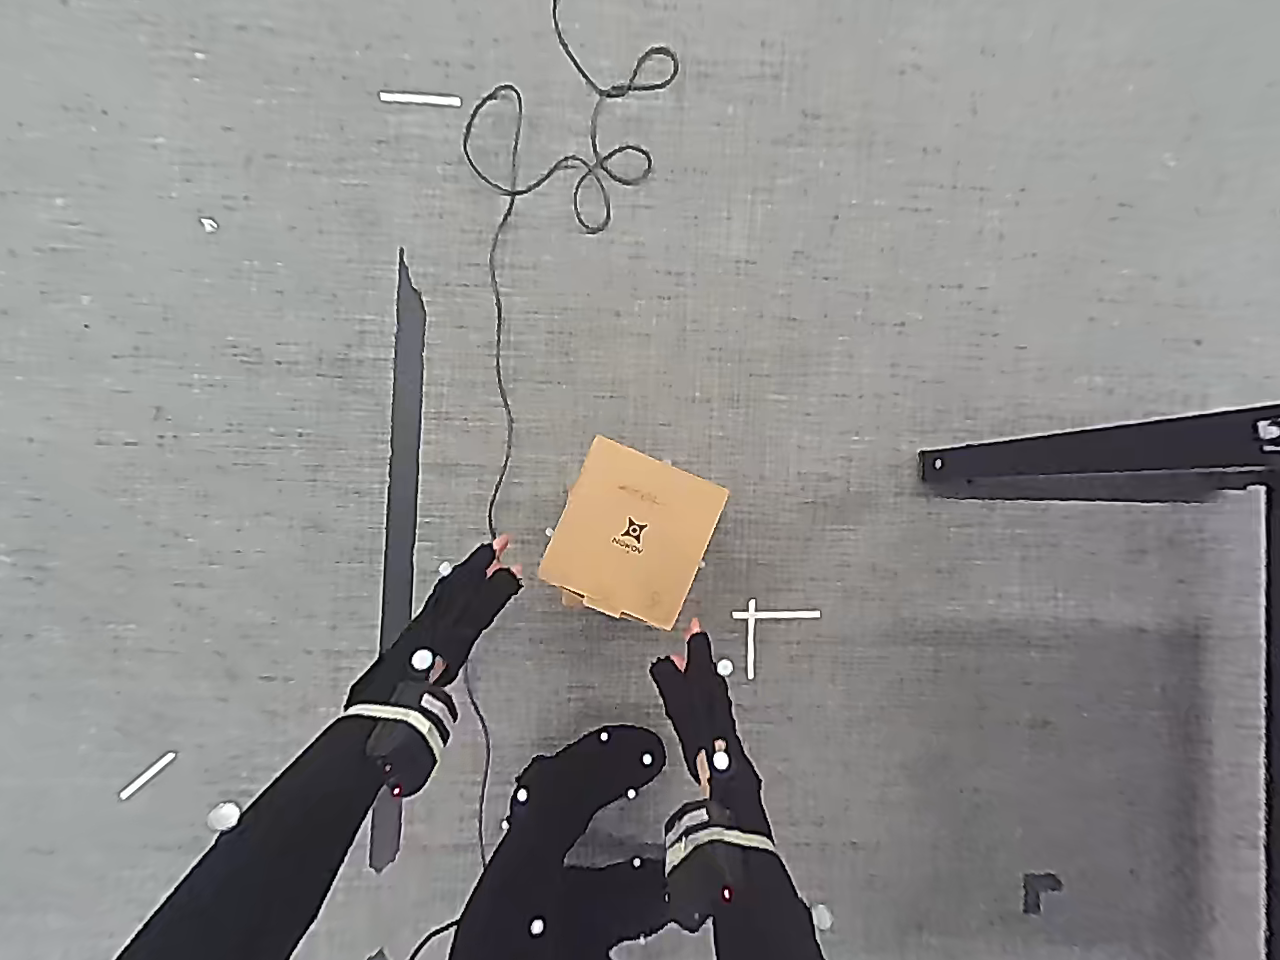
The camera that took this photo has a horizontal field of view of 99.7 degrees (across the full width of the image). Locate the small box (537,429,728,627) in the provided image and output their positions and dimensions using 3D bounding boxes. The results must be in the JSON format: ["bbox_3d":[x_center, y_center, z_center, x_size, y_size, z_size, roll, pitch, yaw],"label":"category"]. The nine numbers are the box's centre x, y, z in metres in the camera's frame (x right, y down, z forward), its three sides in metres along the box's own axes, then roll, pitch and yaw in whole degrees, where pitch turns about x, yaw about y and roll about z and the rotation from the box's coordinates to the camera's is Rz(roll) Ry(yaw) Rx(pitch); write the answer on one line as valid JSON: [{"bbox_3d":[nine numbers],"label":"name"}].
[{"bbox_3d":[-0.010,0.056,0.677,0.168,0.176,0.179,22,86,-2],"label":"small box"}]
